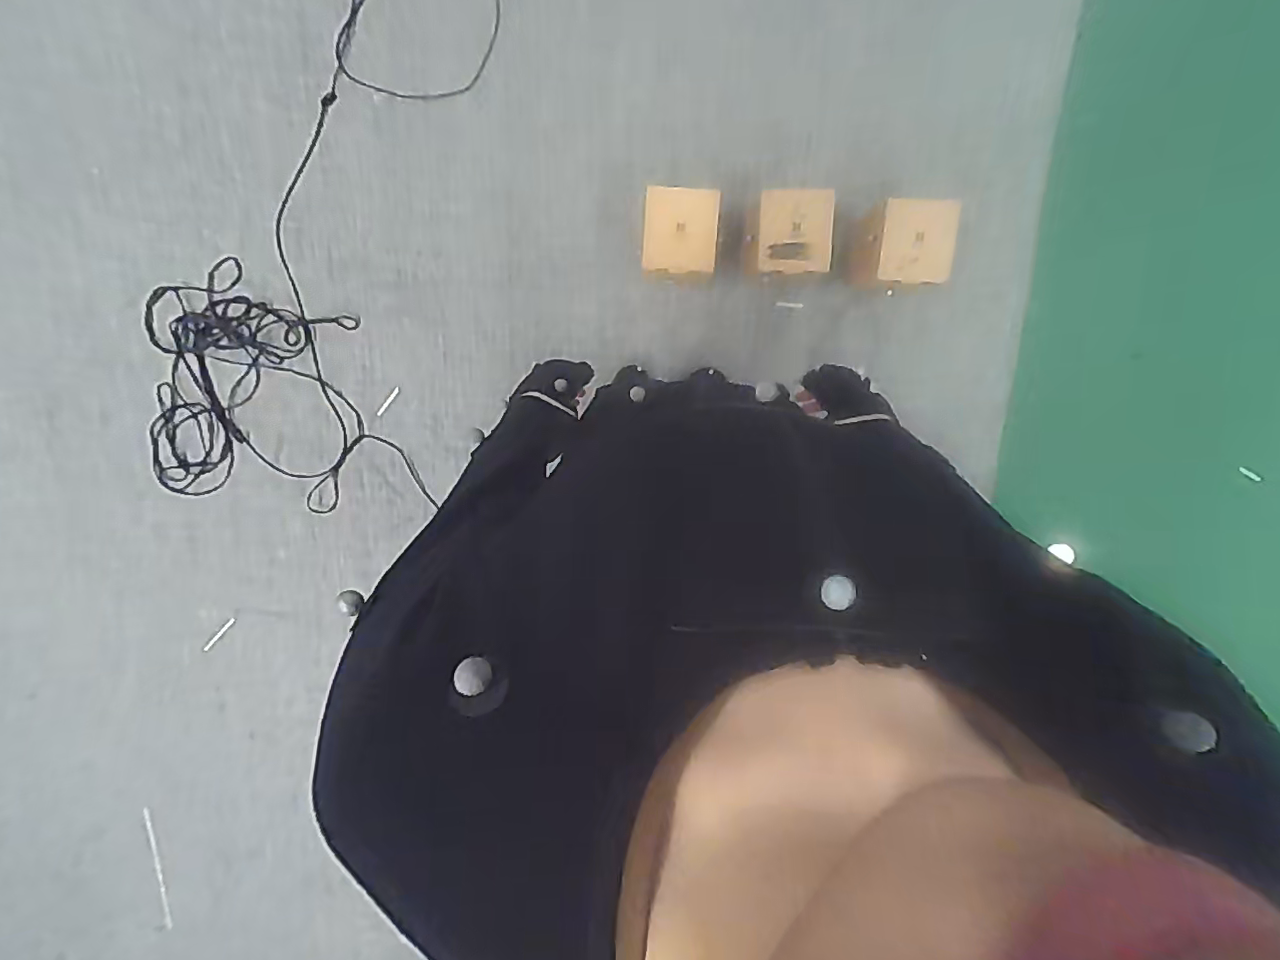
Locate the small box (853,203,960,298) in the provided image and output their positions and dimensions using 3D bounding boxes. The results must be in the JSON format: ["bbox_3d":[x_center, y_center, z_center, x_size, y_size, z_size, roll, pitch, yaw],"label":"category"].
[{"bbox_3d":[0.630,-0.544,1.299,0.168,0.176,0.179,3,102,1],"label":"small box"}]

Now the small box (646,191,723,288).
[{"bbox_3d":[0.101,-0.571,1.300,0.168,0.176,0.179,3,102,1],"label":"small box"}]
